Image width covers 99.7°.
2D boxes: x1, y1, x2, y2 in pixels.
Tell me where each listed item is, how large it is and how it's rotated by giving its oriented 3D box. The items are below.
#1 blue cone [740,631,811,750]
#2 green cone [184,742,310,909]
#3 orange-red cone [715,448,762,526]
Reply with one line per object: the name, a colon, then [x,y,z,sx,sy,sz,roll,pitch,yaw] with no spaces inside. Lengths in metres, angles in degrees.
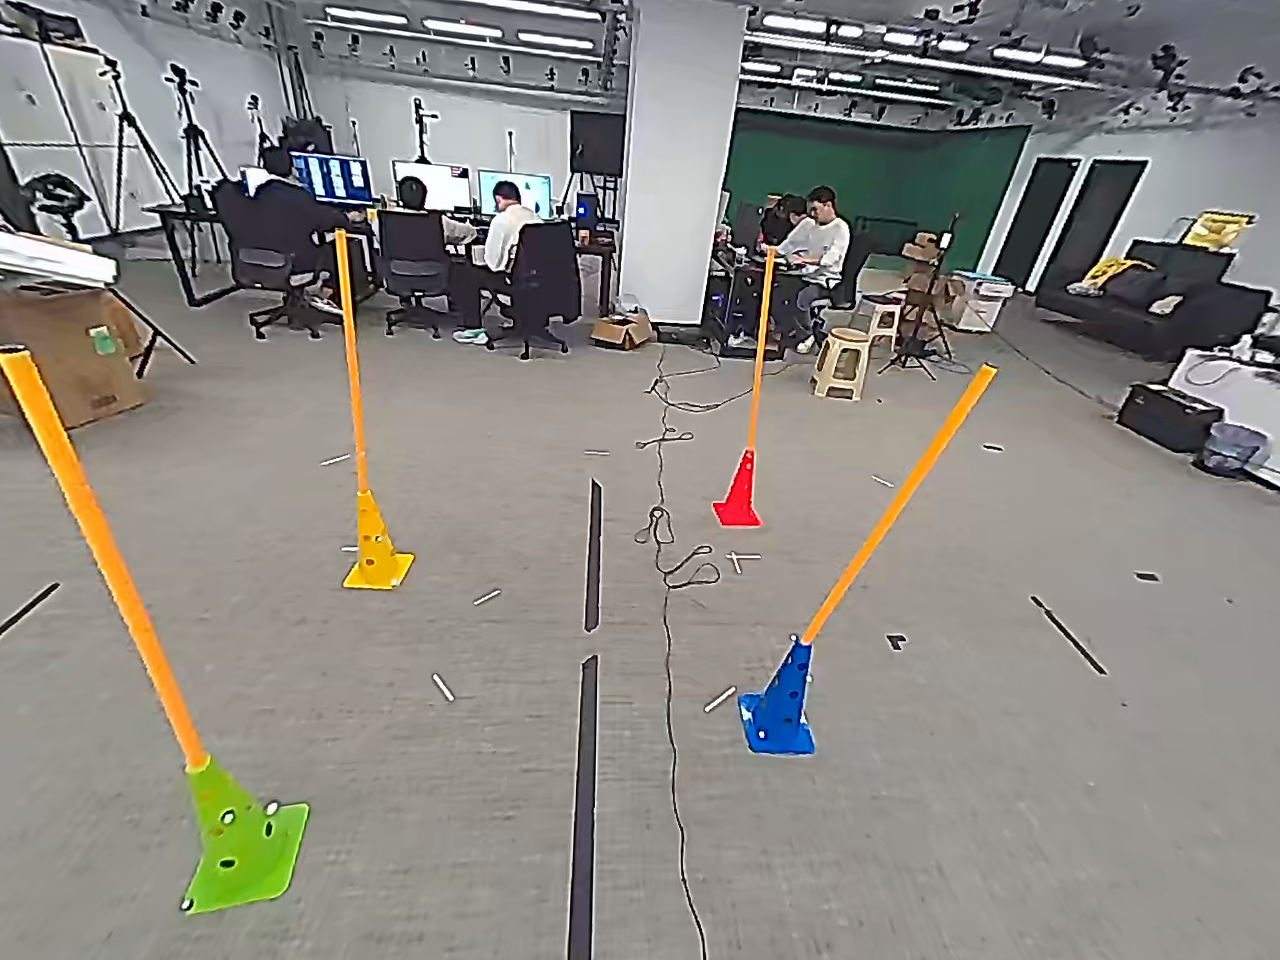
blue cone: [0.427,0.591,1.566,0.193,0.380,0.192,4,30,-3]
green cone: [-0.867,0.691,1.144,0.200,0.368,0.202,-2,30,-14]
orange-red cone: [0.486,0.019,2.516,0.199,0.360,0.198,-1,31,-9]
